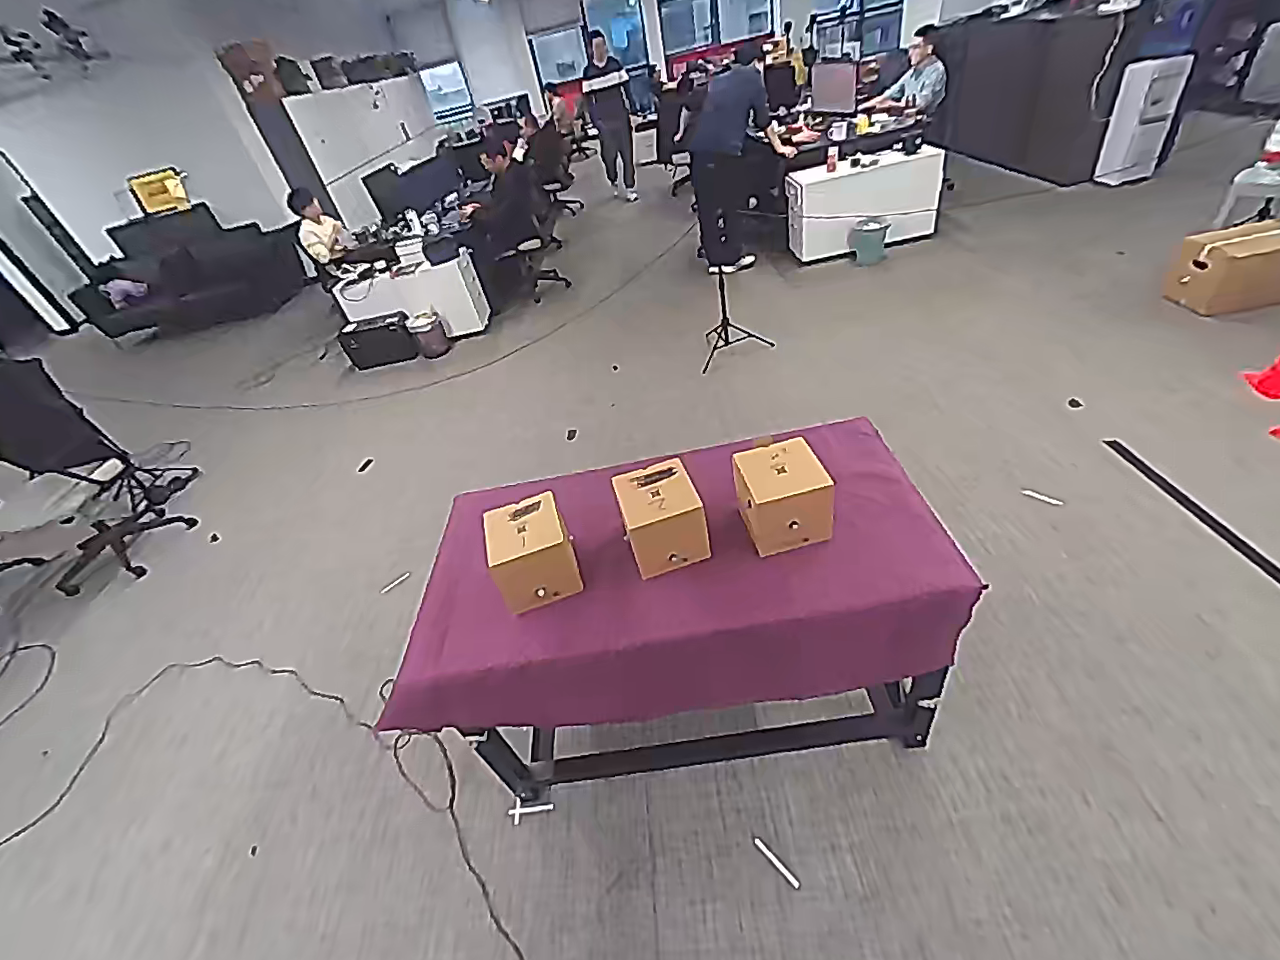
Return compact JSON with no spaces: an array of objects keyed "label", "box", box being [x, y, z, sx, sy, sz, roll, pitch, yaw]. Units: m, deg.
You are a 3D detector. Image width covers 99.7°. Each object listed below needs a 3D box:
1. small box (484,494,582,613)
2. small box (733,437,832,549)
[{"label":"small box","box":[-0.242,0.167,1.226,0.168,0.176,0.179,-20,40,-5]},{"label":"small box","box":[0.316,0.035,1.204,0.168,0.176,0.179,-14,39,0]}]
